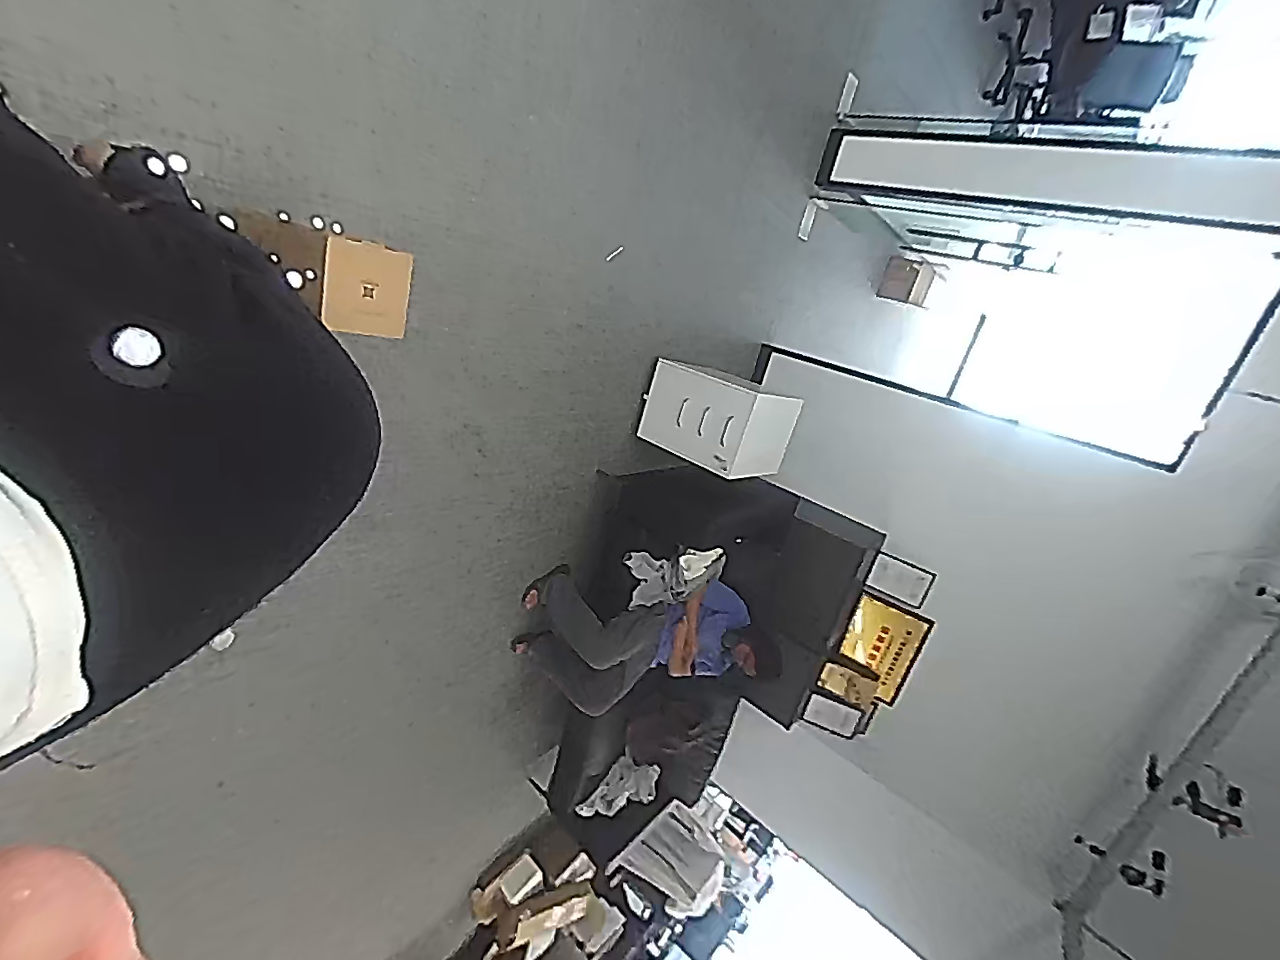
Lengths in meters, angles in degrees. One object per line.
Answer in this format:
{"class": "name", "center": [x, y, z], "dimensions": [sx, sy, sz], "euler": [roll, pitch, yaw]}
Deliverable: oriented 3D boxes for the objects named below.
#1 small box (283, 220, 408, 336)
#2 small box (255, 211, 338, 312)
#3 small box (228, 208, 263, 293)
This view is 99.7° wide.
{"class": "small box", "center": [-0.599, -0.408, 1.095], "dimensions": [0.168, 0.176, 0.179], "euler": [-10, 123, -51]}
{"class": "small box", "center": [-0.719, -0.468, 1.185], "dimensions": [0.168, 0.176, 0.179], "euler": [-11, 122, -52]}
{"class": "small box", "center": [-0.844, -0.528, 1.274], "dimensions": [0.179, 0.176, 0.168], "euler": [-9, 122, -52]}
